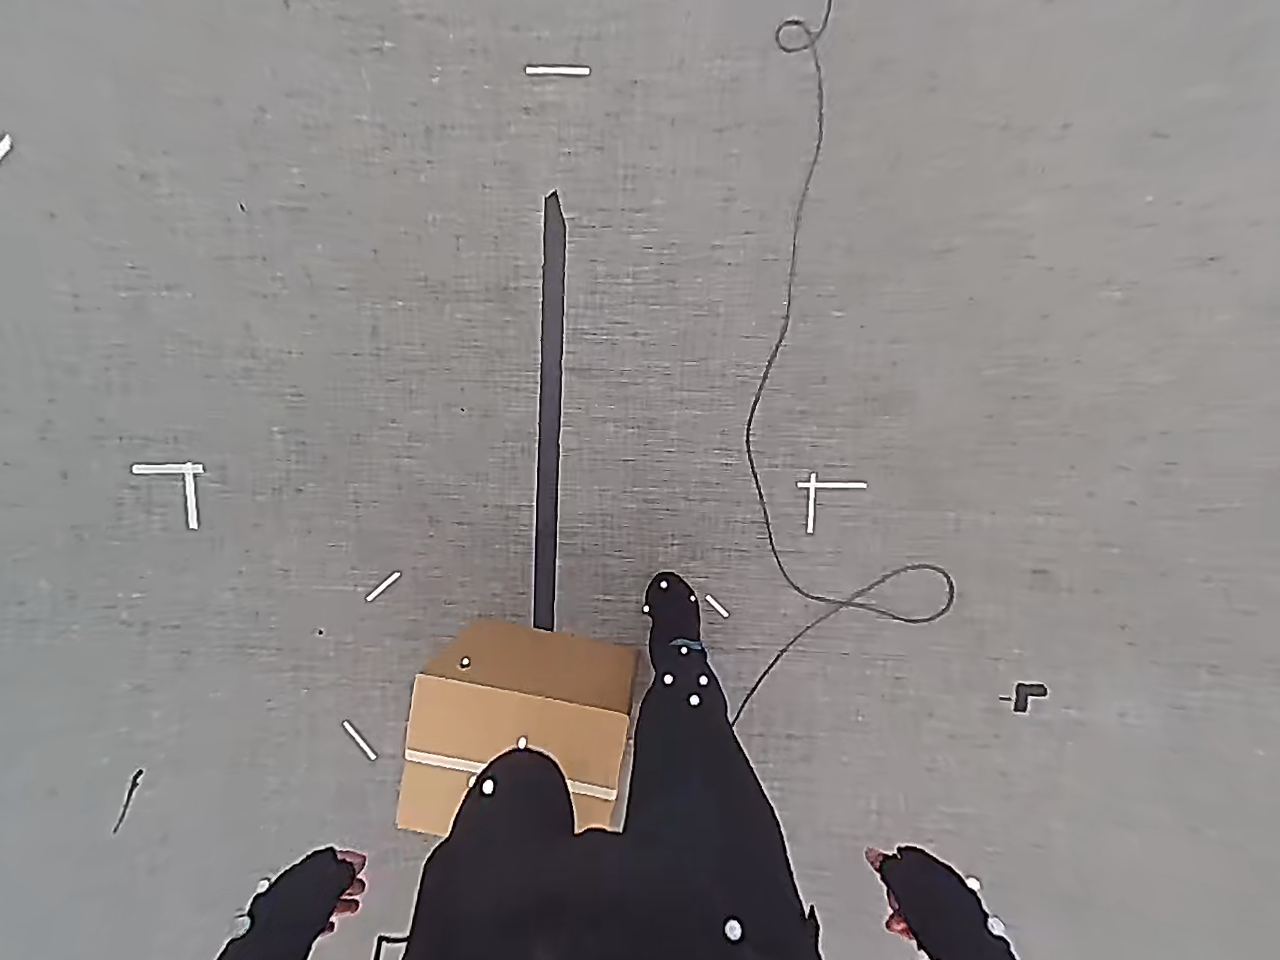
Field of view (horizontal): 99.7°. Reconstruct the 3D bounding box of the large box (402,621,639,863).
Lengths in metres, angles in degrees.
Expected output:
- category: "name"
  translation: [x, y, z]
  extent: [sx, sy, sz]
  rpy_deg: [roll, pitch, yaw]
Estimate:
- category: "large box"
  translation: [-0.228, 0.524, 1.151]
  extent: [0.408, 0.320, 0.320]
  rpy_deg: [10, 96, 2]
